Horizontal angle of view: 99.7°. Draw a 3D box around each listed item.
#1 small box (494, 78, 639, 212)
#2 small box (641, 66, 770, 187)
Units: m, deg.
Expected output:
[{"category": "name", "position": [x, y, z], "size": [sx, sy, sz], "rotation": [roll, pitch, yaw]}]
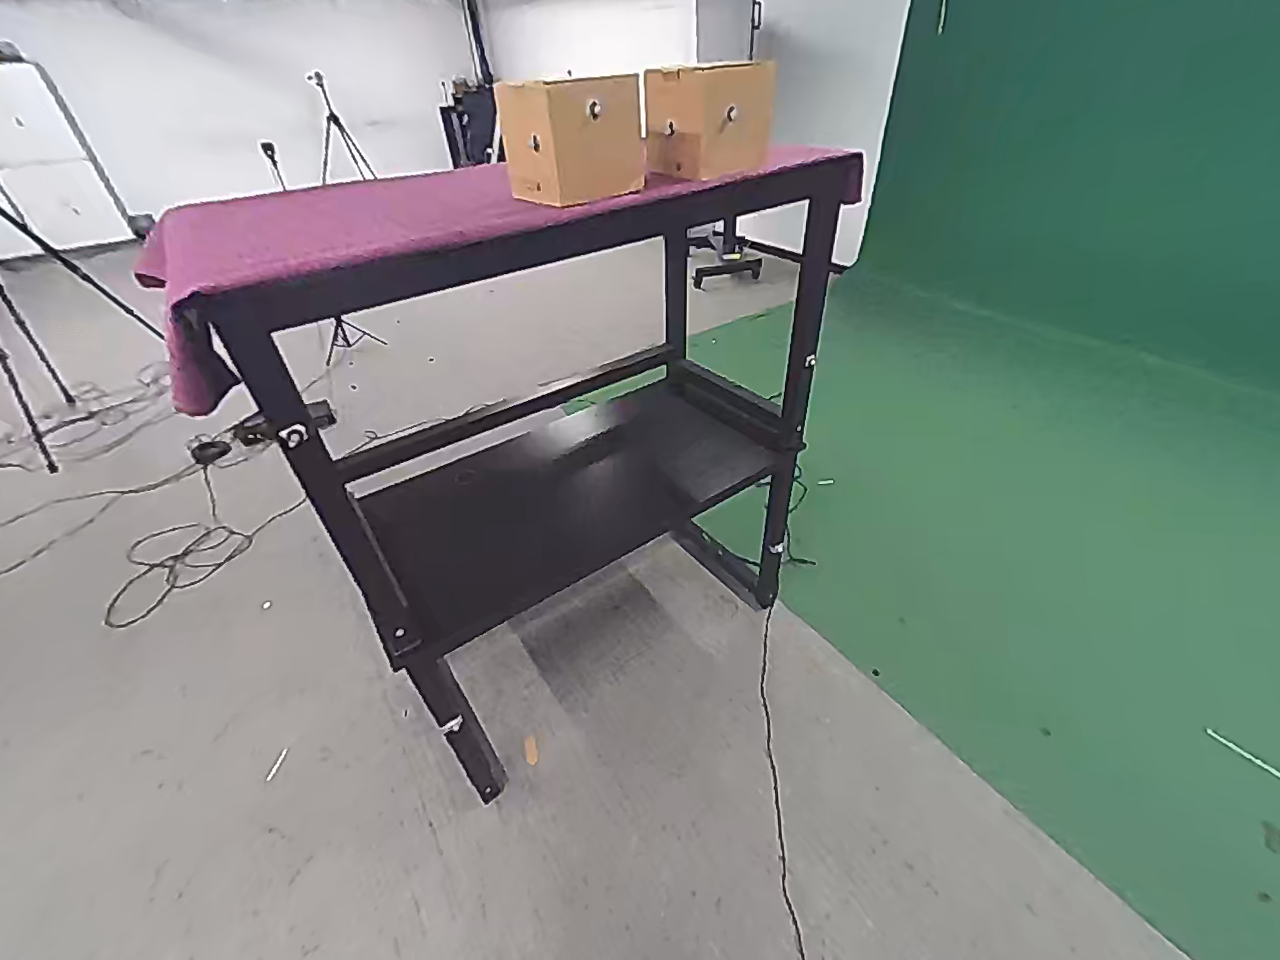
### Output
[{"category": "small box", "position": [-0.115, -0.560, 0.905], "size": [0.179, 0.176, 0.168], "rotation": [-27, 43, -28]}, {"category": "small box", "position": [0.124, -0.668, 1.024], "size": [0.179, 0.176, 0.168], "rotation": [-27, 45, -25]}]
